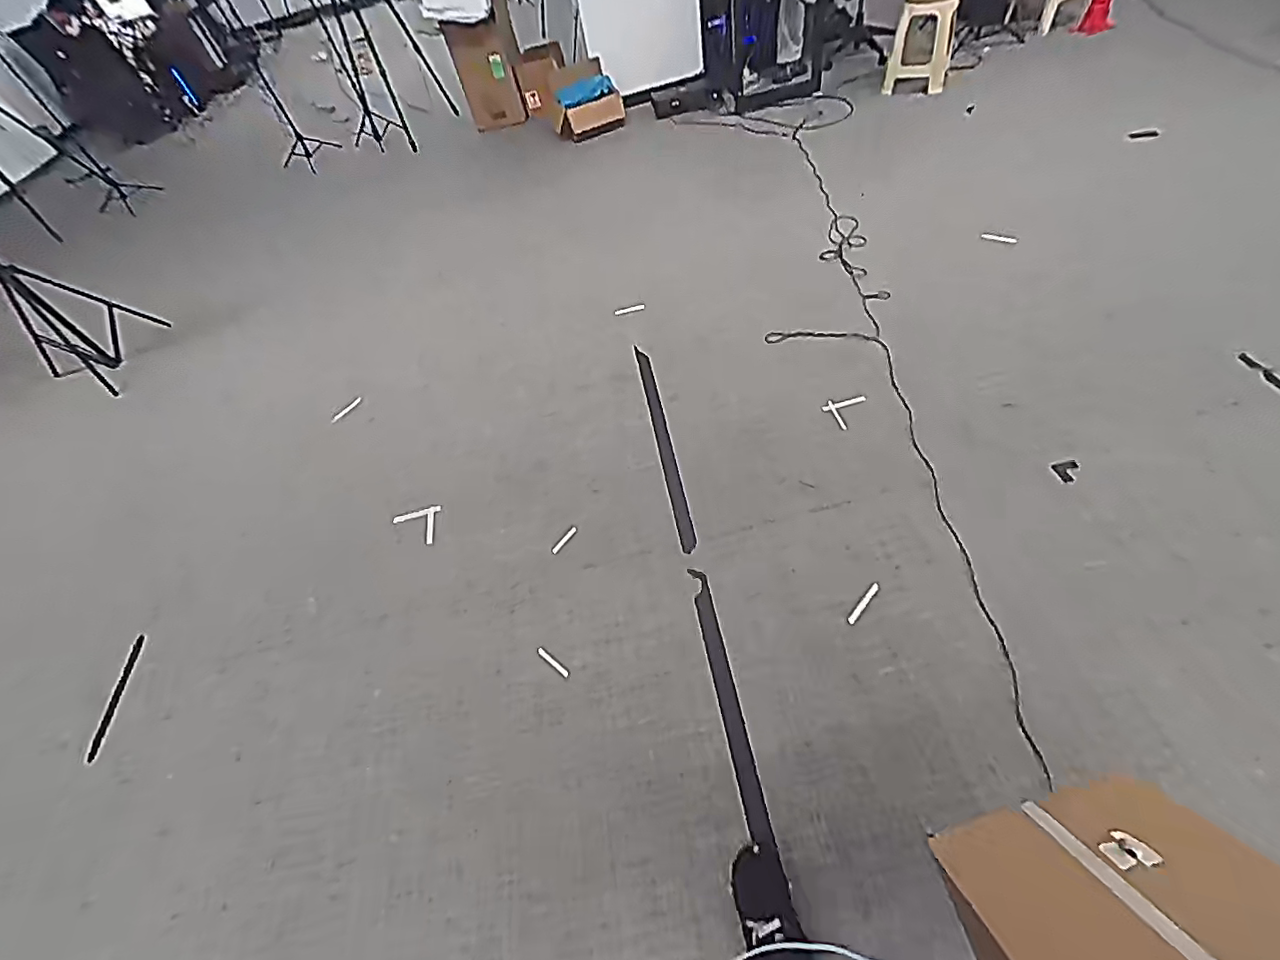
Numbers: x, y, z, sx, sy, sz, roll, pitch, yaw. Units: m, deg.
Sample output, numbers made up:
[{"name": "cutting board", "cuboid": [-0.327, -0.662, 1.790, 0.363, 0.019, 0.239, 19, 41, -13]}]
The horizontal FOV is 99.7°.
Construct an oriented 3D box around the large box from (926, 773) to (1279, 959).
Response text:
[{"name": "large box", "cuboid": [0.618, 0.624, 0.608, 0.320, 0.408, 0.320, -21, 87, 2]}]
